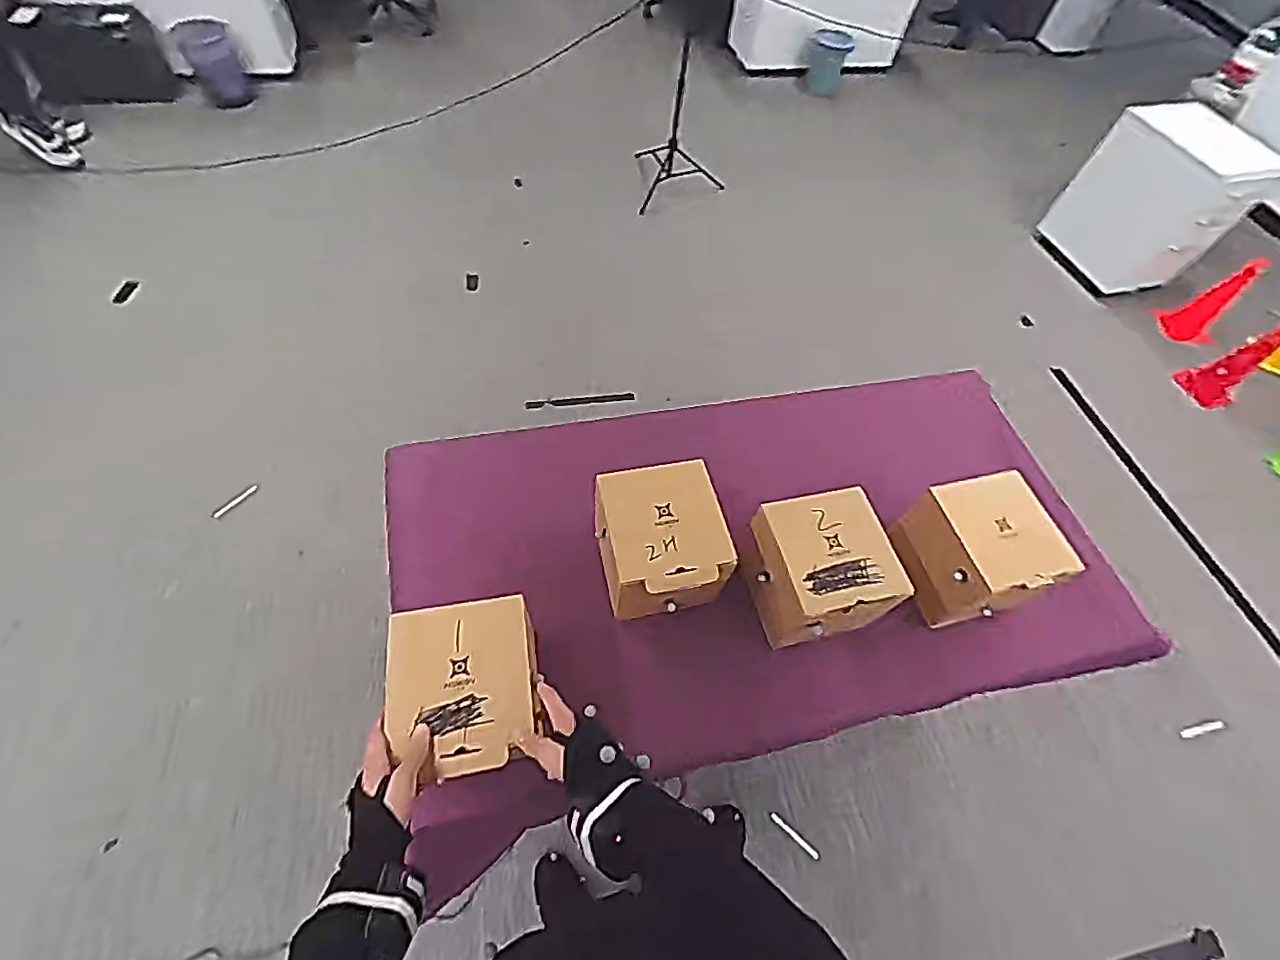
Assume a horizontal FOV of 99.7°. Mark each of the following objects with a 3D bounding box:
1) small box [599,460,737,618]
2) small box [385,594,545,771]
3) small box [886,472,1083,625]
[{"bbox_3d":[0.030,0.094,0.836,0.168,0.176,0.179,-9,60,-10],"label":"small box"},{"bbox_3d":[-0.218,0.270,0.706,0.168,0.176,0.179,-7,59,-10],"label":"small box"},{"bbox_3d":[0.537,0.113,0.875,0.168,0.176,0.179,-10,61,-11],"label":"small box"}]
